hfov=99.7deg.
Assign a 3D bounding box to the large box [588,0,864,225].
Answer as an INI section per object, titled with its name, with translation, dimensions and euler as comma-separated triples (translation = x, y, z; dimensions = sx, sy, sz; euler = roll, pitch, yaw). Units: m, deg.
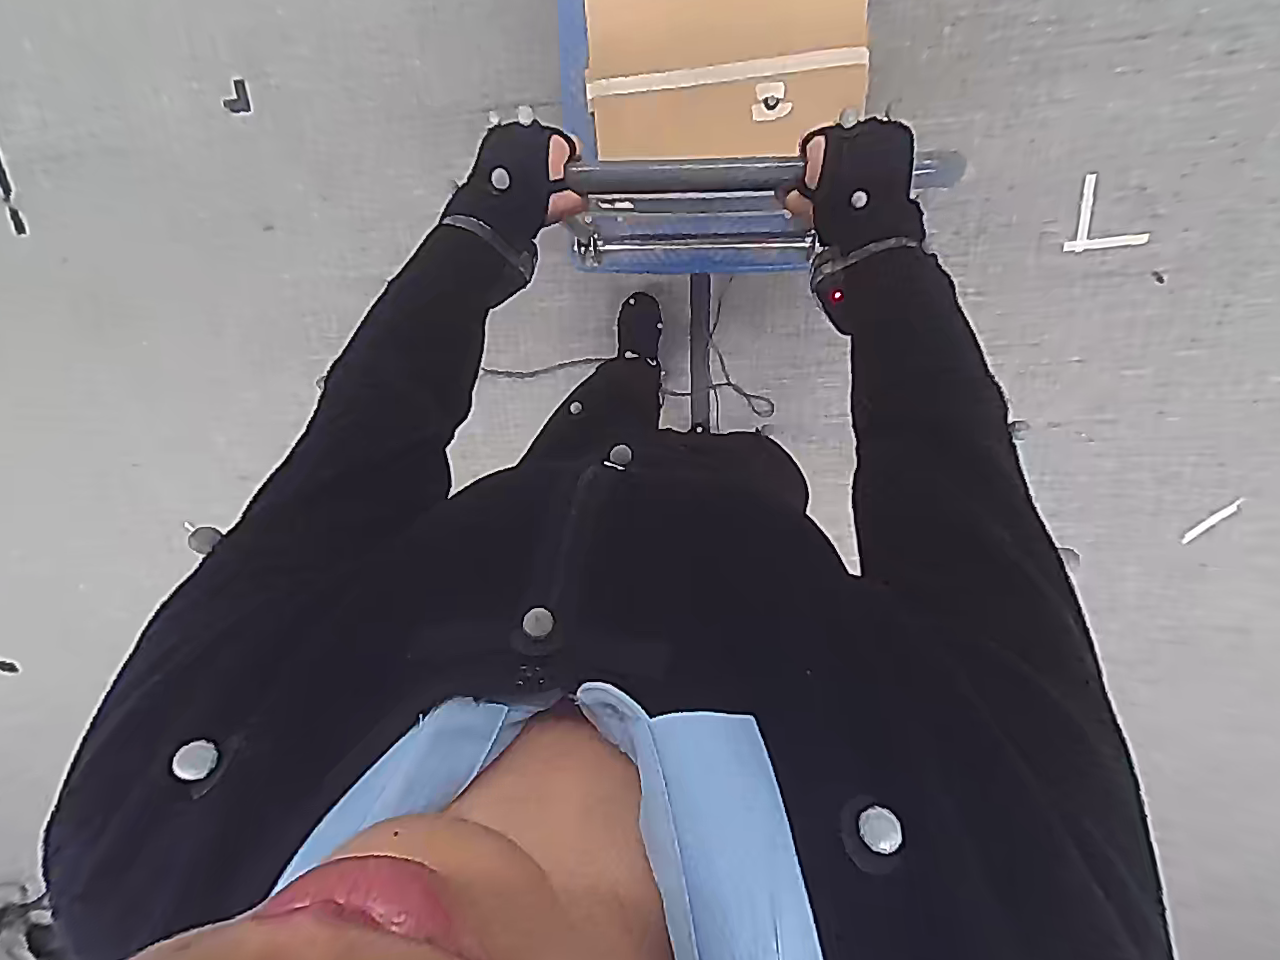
[large box]
translation = 0.142, -0.657, 0.957
dimensions = 0.408, 0.320, 0.320
euler = -3, 109, 6
